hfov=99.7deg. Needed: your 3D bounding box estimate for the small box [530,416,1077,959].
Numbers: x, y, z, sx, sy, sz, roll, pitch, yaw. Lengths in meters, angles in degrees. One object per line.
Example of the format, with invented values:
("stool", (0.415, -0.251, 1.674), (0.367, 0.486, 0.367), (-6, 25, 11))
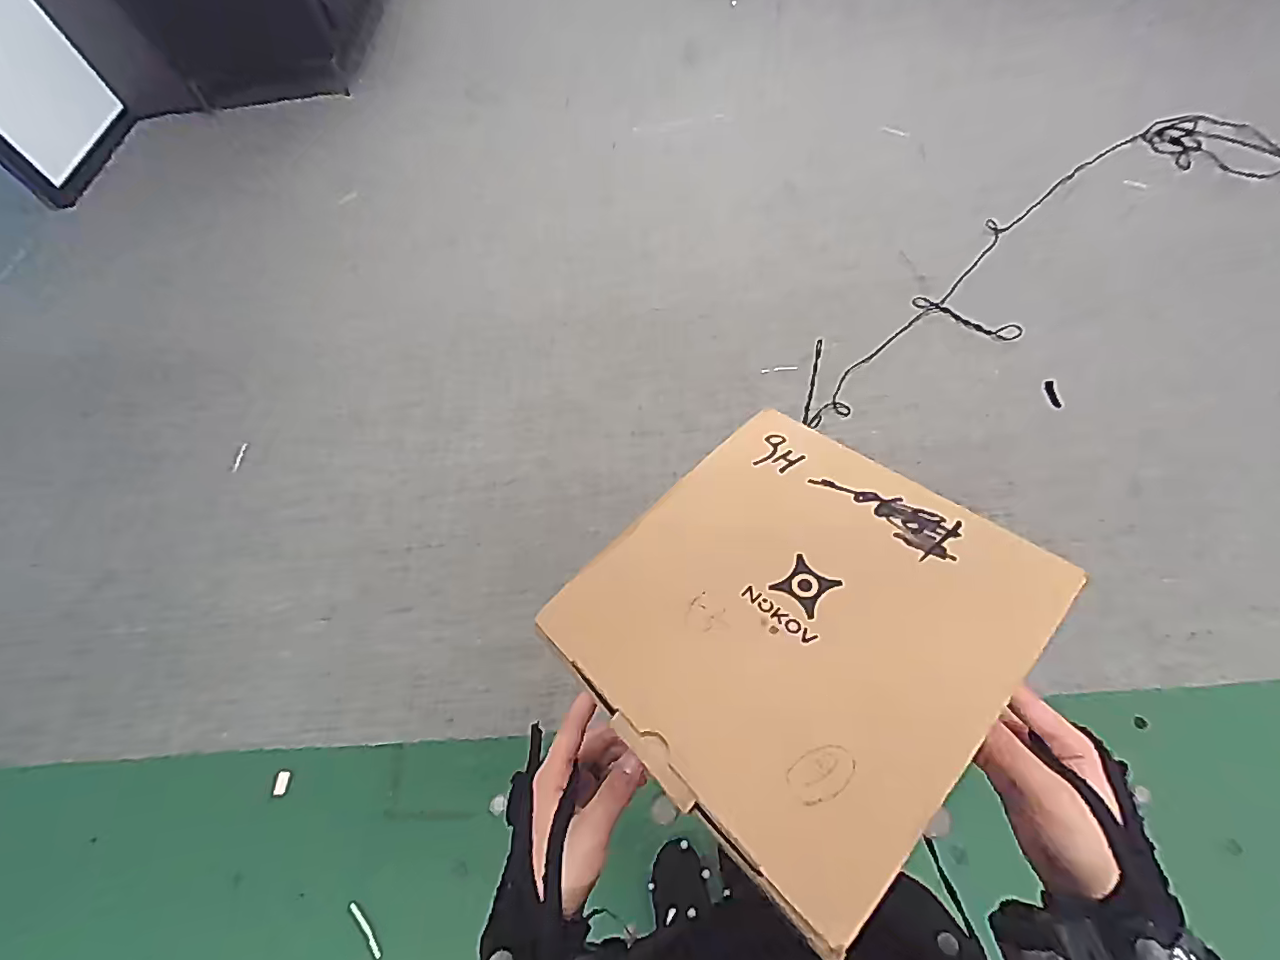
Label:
("small box", (0.078, 0.105, 0.296), (0.179, 0.176, 0.168), (-41, 54, -18))
